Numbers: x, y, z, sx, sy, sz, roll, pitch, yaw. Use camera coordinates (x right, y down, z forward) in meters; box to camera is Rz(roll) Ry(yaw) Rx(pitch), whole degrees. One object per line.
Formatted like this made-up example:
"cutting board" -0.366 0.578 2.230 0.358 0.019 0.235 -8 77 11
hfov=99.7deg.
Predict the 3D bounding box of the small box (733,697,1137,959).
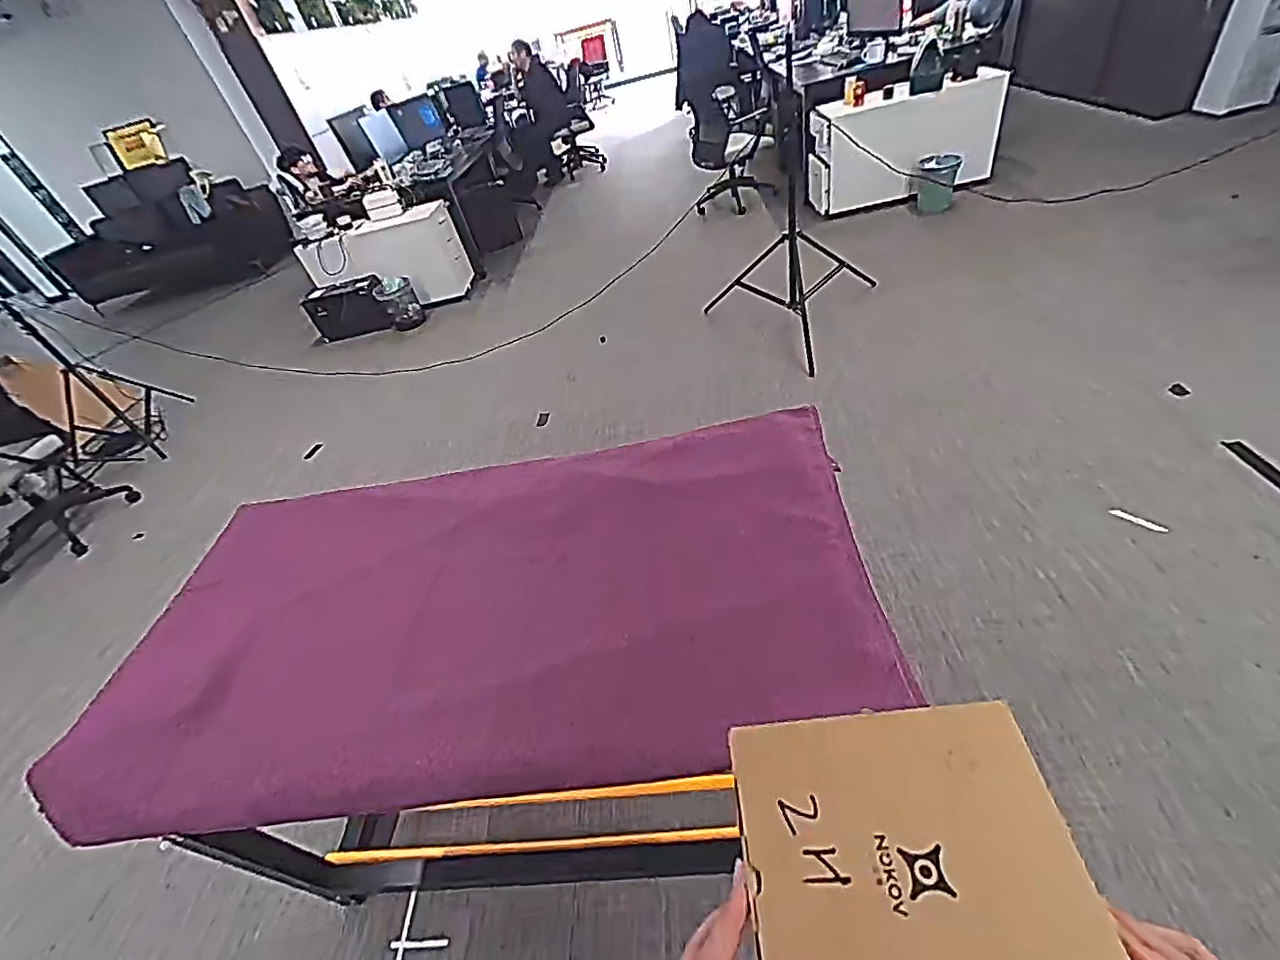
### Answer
"small box" 0.162 0.258 0.349 0.179 0.176 0.168 -9 47 8
